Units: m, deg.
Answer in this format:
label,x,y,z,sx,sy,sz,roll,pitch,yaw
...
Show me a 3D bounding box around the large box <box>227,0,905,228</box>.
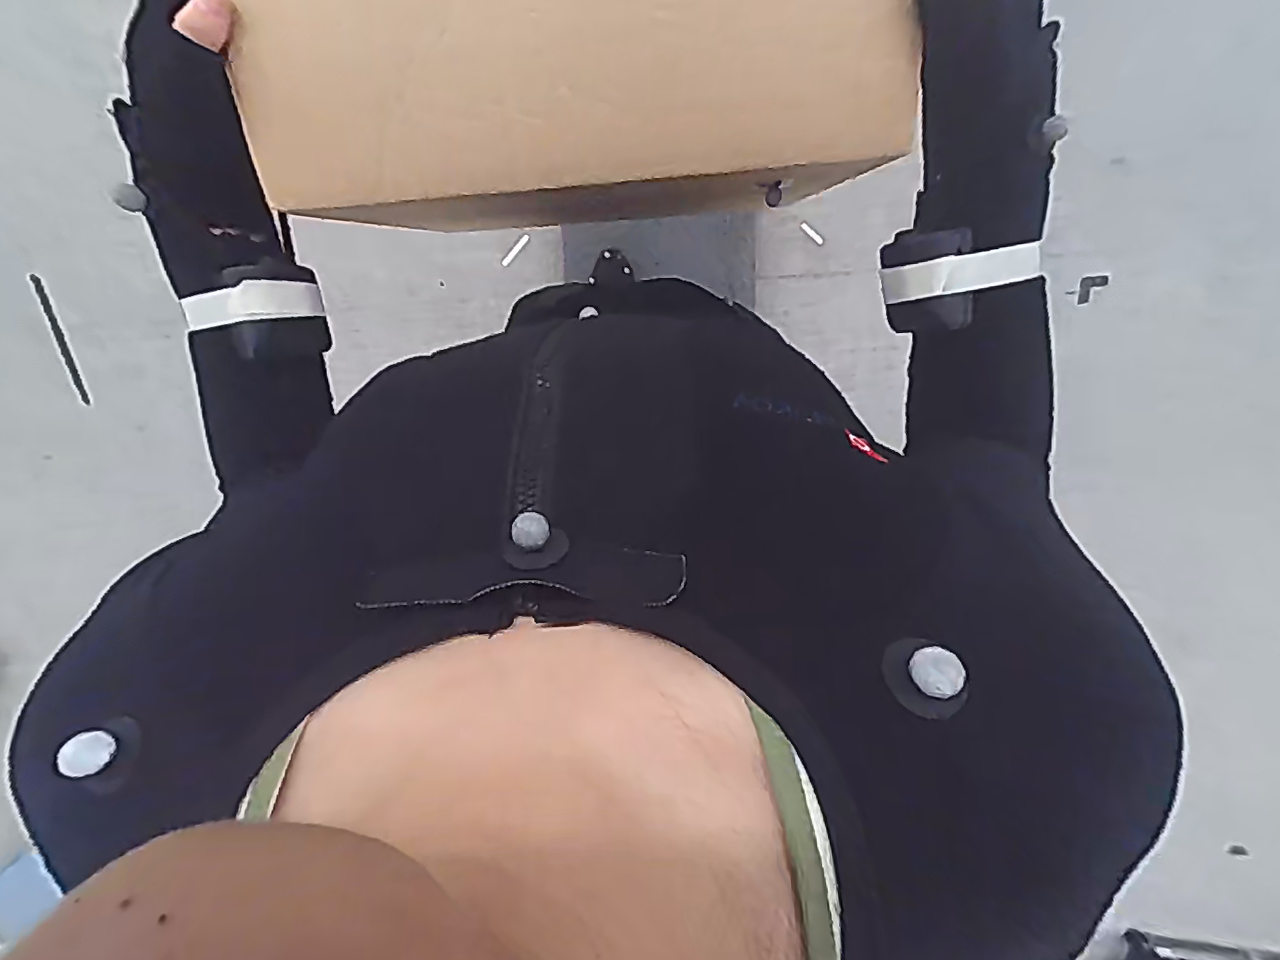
label,x,y,z,sx,sy,sz,roll,pitch,yaw
large box,-0.044,-0.393,0.433,0.408,0.320,0.320,-3,111,3
